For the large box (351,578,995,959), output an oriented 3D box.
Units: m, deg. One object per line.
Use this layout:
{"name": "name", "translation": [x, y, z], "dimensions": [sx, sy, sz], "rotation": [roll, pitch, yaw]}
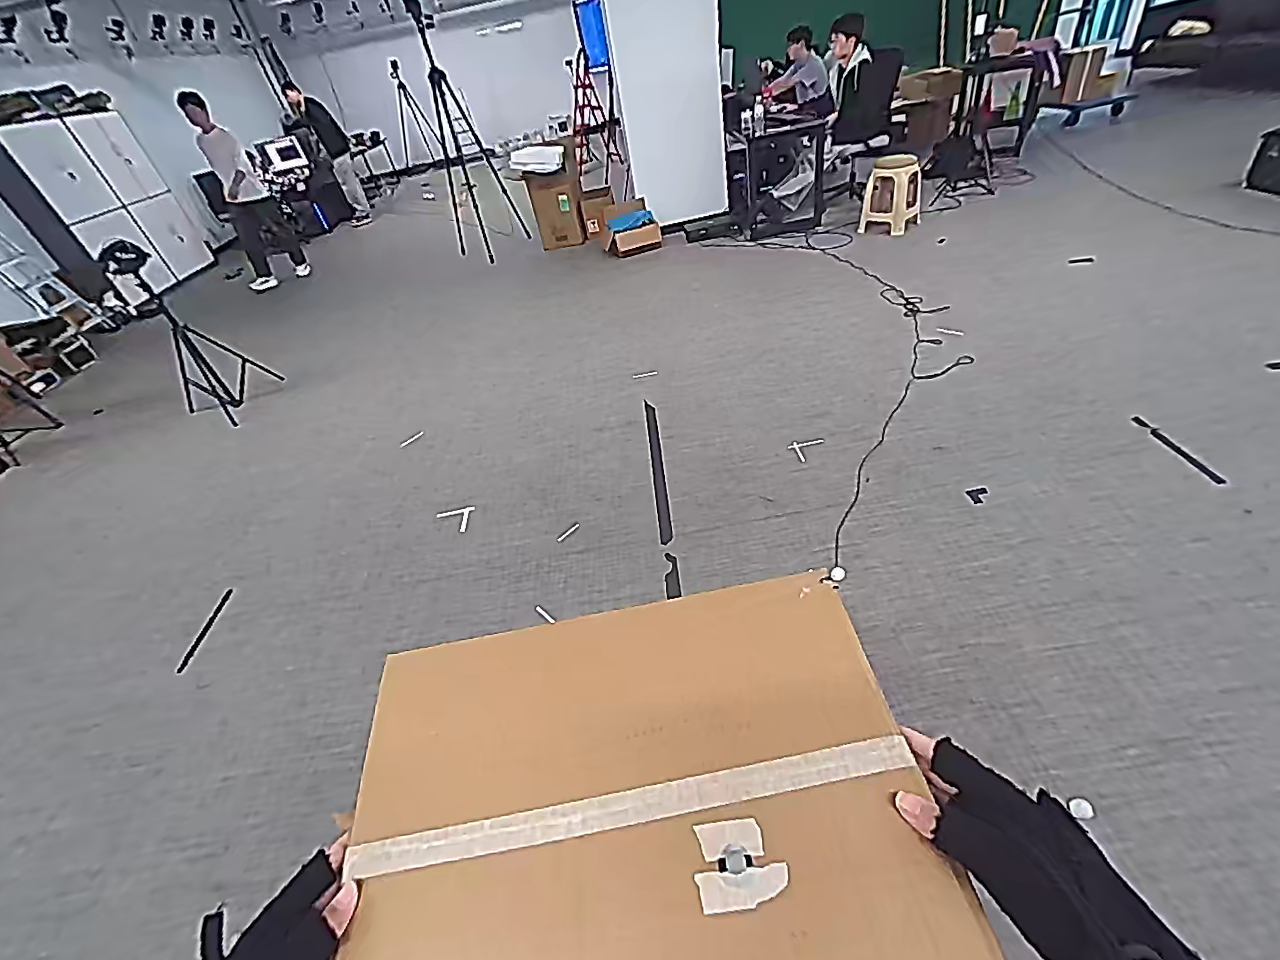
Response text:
{"name": "large box", "translation": [0.013, 0.338, 0.505], "dimensions": [0.408, 0.320, 0.320], "rotation": [-11, 48, -1]}
